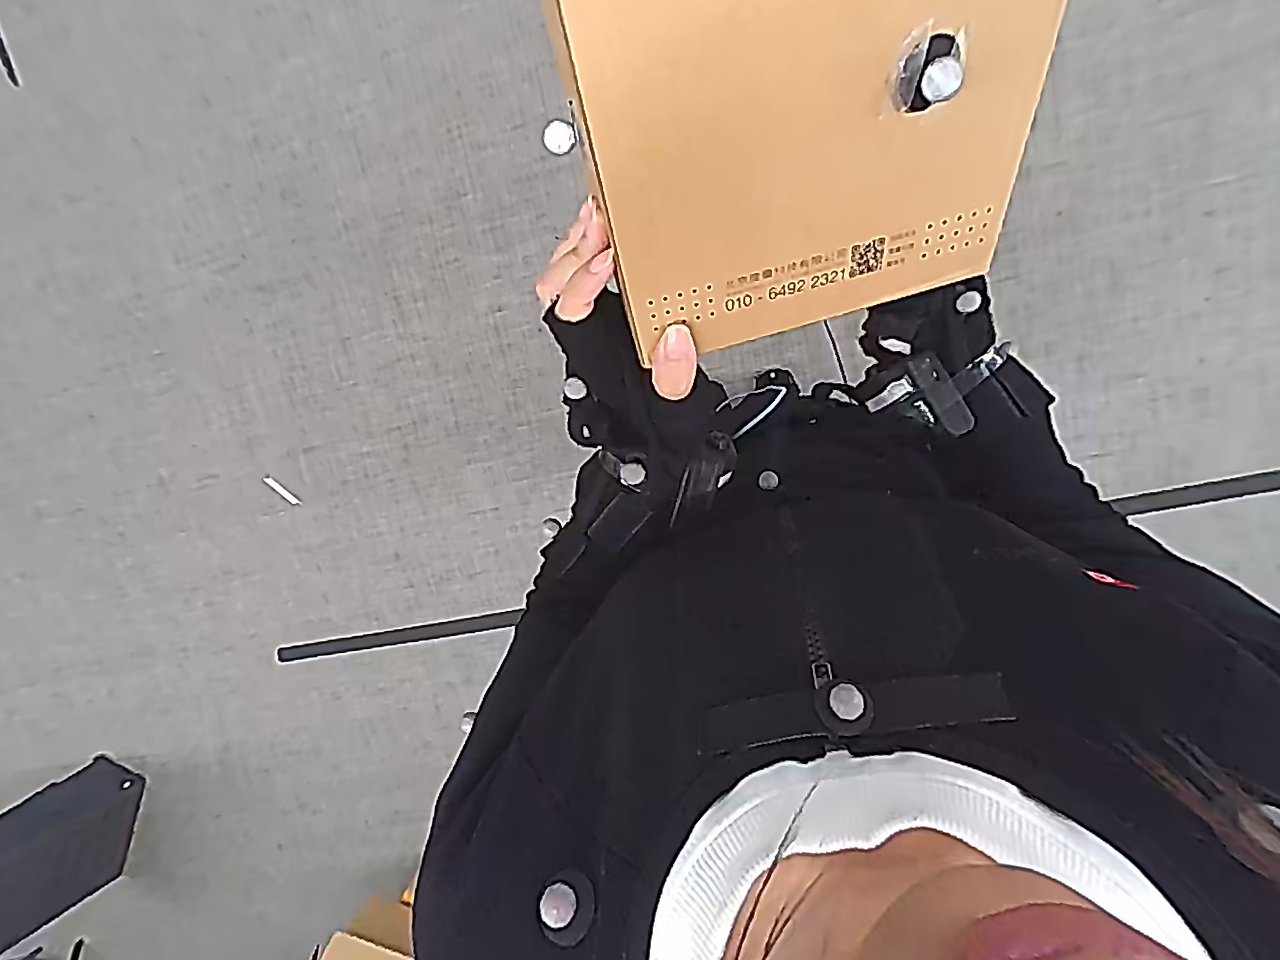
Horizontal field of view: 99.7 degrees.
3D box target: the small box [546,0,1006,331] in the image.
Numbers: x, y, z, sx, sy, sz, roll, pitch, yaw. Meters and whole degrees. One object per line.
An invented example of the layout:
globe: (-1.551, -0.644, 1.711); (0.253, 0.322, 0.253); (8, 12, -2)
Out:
small box: (0.051, -0.192, 0.269); (0.168, 0.179, 0.176); (-15, 137, 1)
